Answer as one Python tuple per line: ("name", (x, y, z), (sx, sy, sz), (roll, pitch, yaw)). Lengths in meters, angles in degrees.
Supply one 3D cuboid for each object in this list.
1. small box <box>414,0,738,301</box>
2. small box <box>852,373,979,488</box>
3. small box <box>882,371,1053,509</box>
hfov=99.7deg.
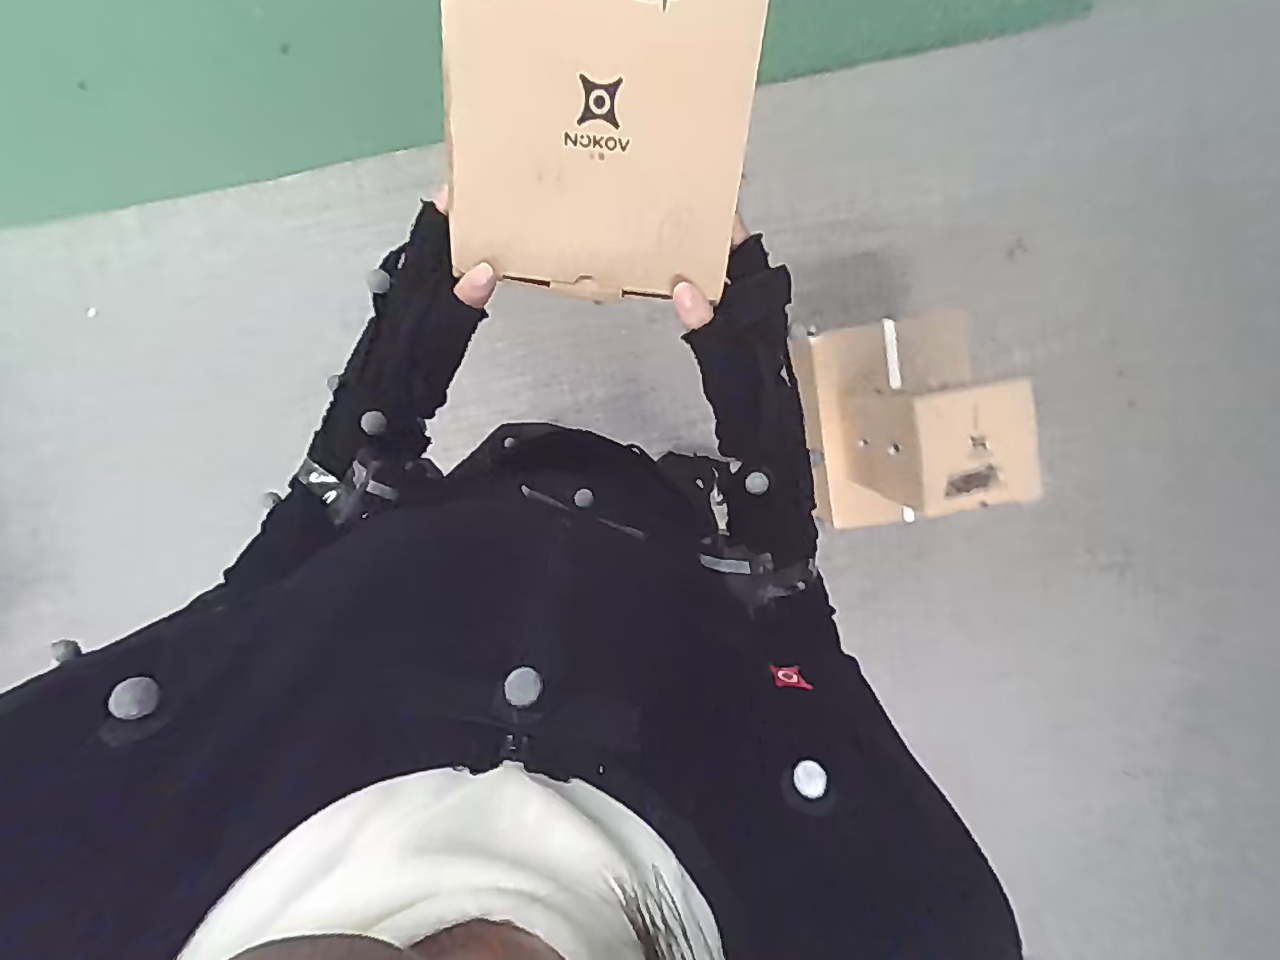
("small box", (-0.032, -0.229, 0.365), (0.168, 0.176, 0.179), (5, 115, 1))
("small box", (0.507, -0.095, 1.001), (0.168, 0.176, 0.179), (-10, 99, 5))
("small box", (0.496, -0.066, 0.840), (0.168, 0.176, 0.179), (-9, 97, 4))
